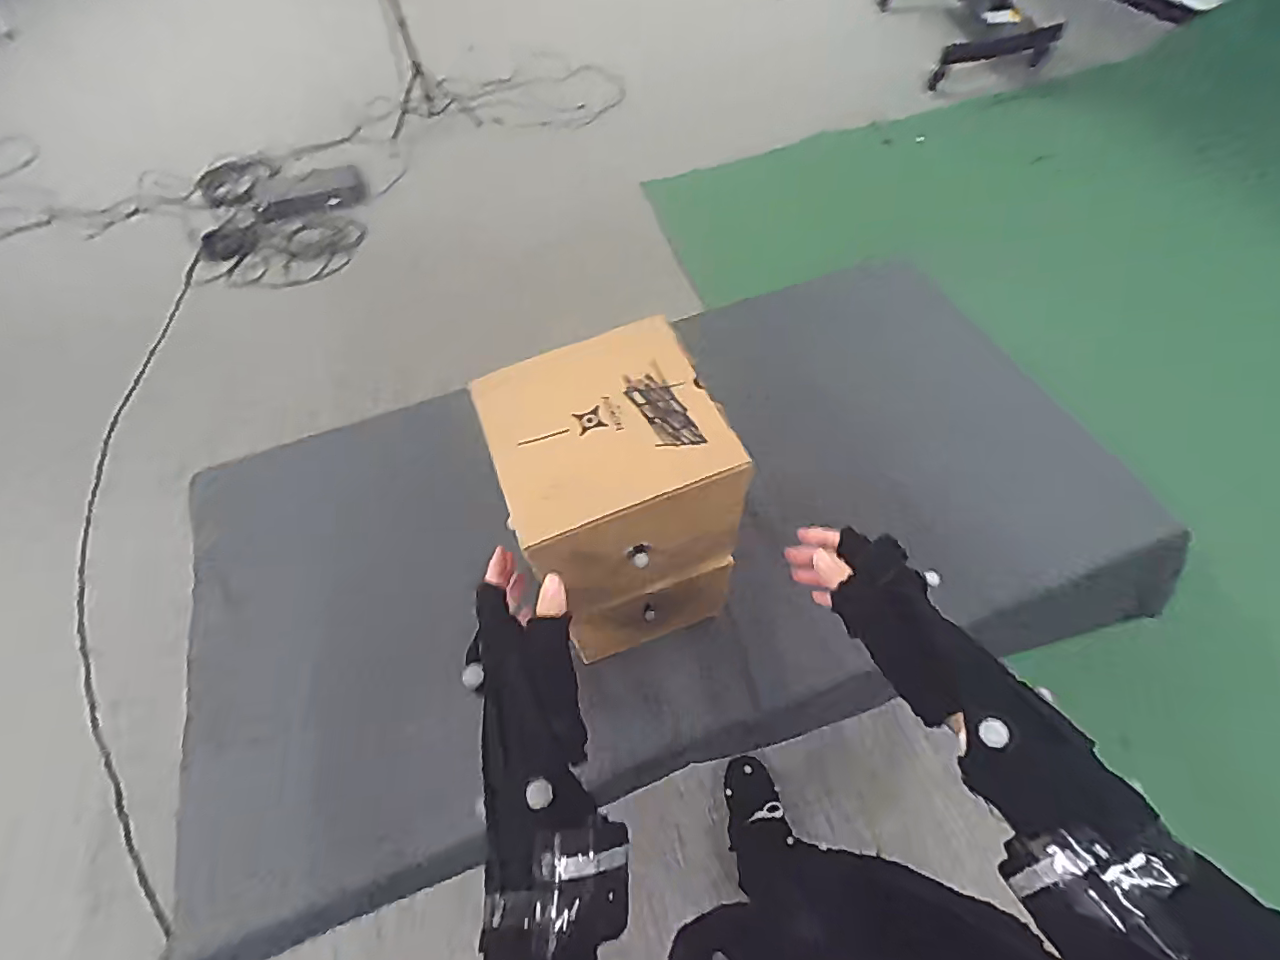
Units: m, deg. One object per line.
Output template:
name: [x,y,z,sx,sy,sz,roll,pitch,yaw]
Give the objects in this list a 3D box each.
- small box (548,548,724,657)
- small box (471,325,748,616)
small box: [-0.018,0.086,0.623,0.179,0.176,0.168,-18,61,-8]
small box: [-0.026,-0.001,0.485,0.179,0.176,0.168,-21,61,-8]
